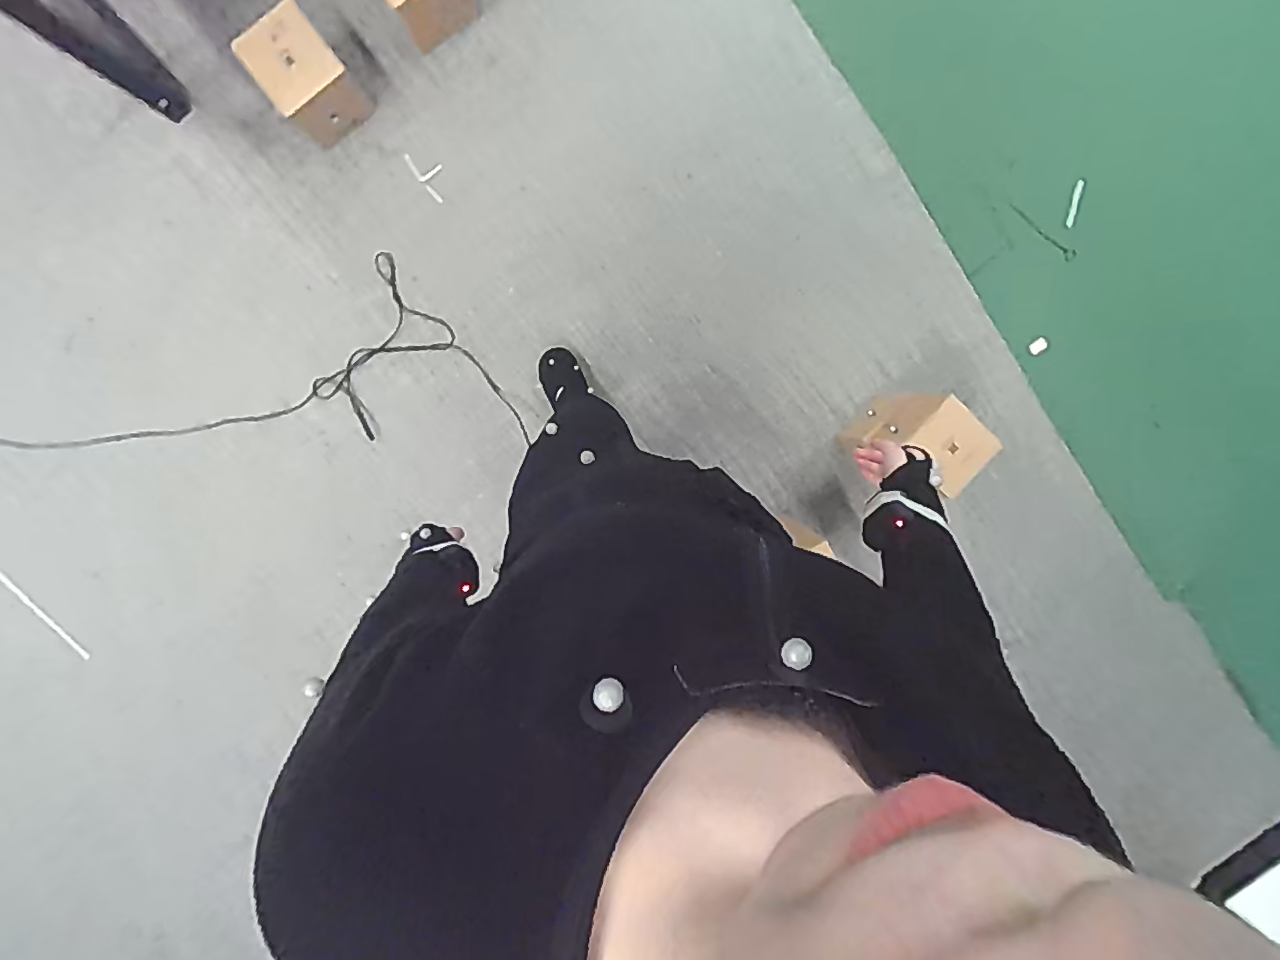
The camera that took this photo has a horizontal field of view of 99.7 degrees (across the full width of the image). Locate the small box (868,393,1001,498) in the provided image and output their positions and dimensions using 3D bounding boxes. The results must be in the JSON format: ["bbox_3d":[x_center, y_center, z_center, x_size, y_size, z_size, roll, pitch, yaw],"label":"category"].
[{"bbox_3d":[0.677,-0.084,1.266,0.179,0.176,0.168,42,95,-9],"label":"small box"}]

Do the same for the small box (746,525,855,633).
[{"bbox_3d":[0.371,0.229,1.293,0.179,0.176,0.168,-30,99,0],"label":"small box"}]

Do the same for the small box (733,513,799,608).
[{"bbox_3d":[0.366,0.211,1.458,0.179,0.176,0.168,-30,100,2],"label":"small box"}]
